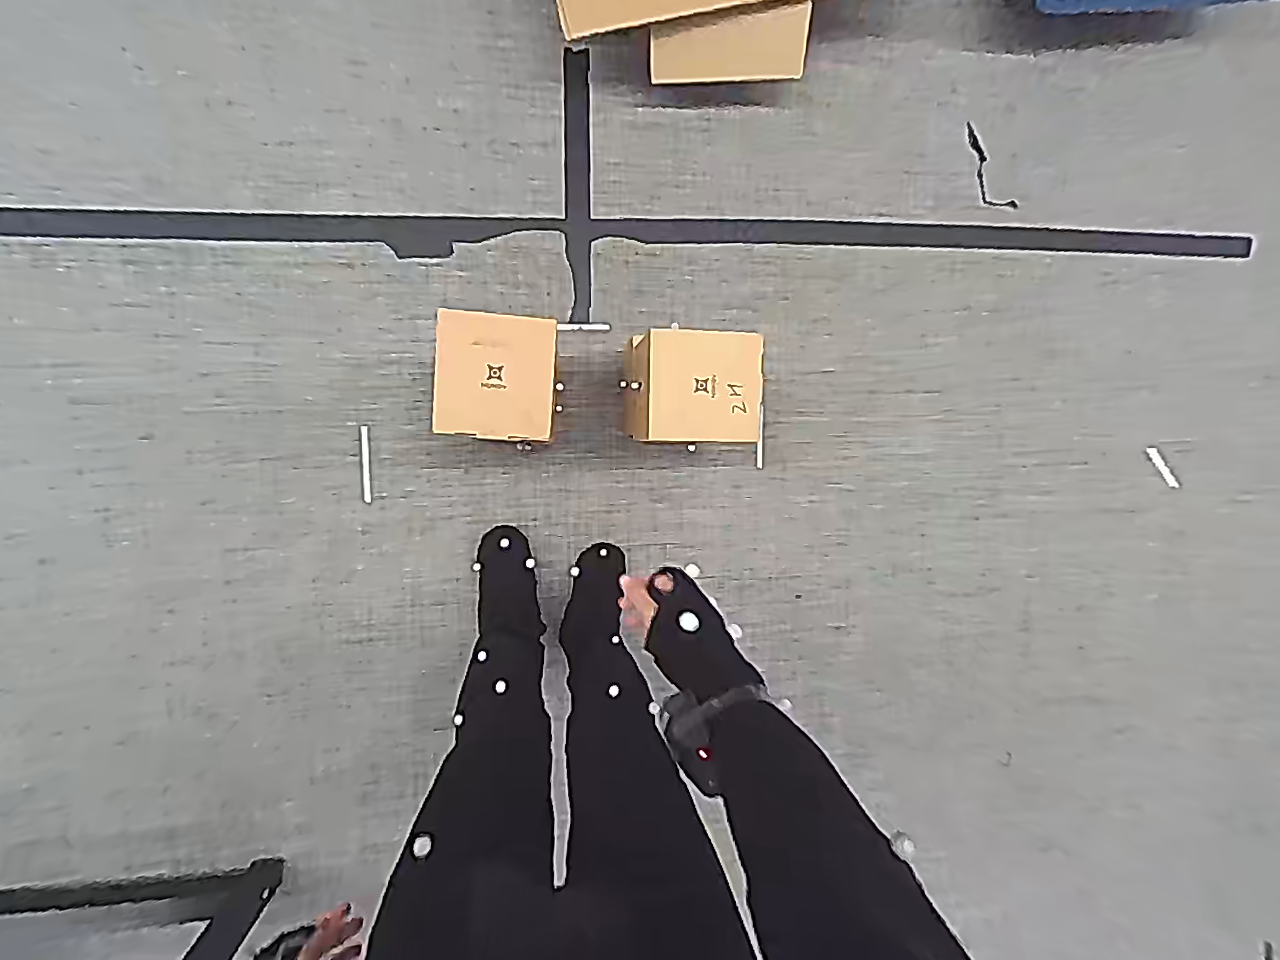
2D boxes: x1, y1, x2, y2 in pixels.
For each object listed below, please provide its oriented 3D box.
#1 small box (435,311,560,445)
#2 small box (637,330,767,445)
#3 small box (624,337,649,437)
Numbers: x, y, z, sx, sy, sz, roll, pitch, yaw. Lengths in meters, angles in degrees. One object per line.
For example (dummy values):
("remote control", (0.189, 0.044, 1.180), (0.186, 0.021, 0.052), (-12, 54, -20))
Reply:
("small box", (-0.212, -0.147, 0.836), (0.168, 0.176, 0.179), (3, 93, -10))
("small box", (0.090, -0.141, 0.877), (0.179, 0.176, 0.168), (0, 95, -9))
("small box", (0.061, -0.171, 1.037), (0.168, 0.176, 0.179), (-2, 94, -9))
